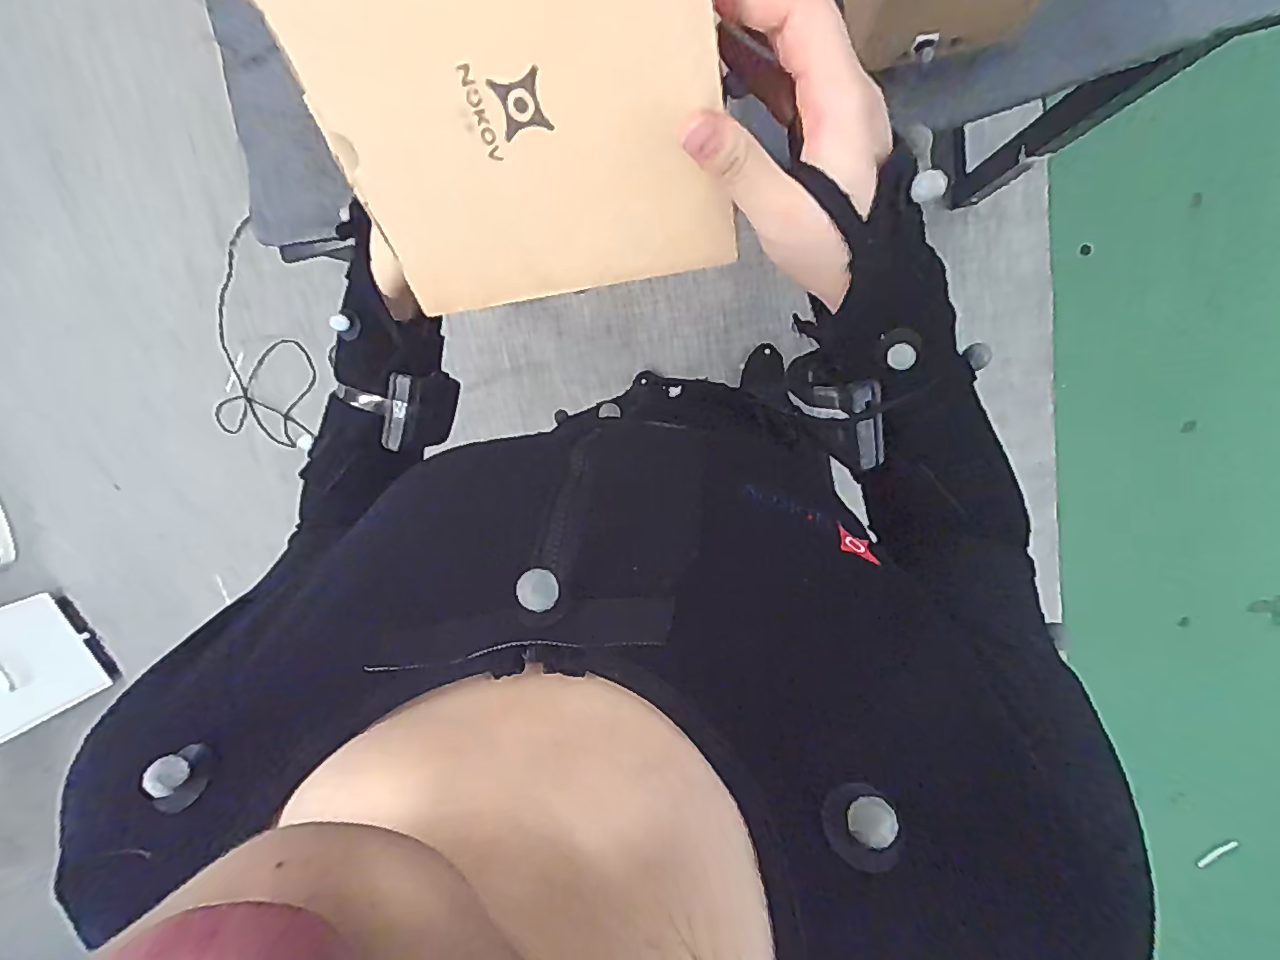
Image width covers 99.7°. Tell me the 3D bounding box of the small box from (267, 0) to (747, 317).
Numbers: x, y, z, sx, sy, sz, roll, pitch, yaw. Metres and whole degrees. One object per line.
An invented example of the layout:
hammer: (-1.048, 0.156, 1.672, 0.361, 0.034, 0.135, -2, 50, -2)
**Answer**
small box: (-0.042, -0.212, 0.287, 0.179, 0.176, 0.168, -5, 132, 14)
